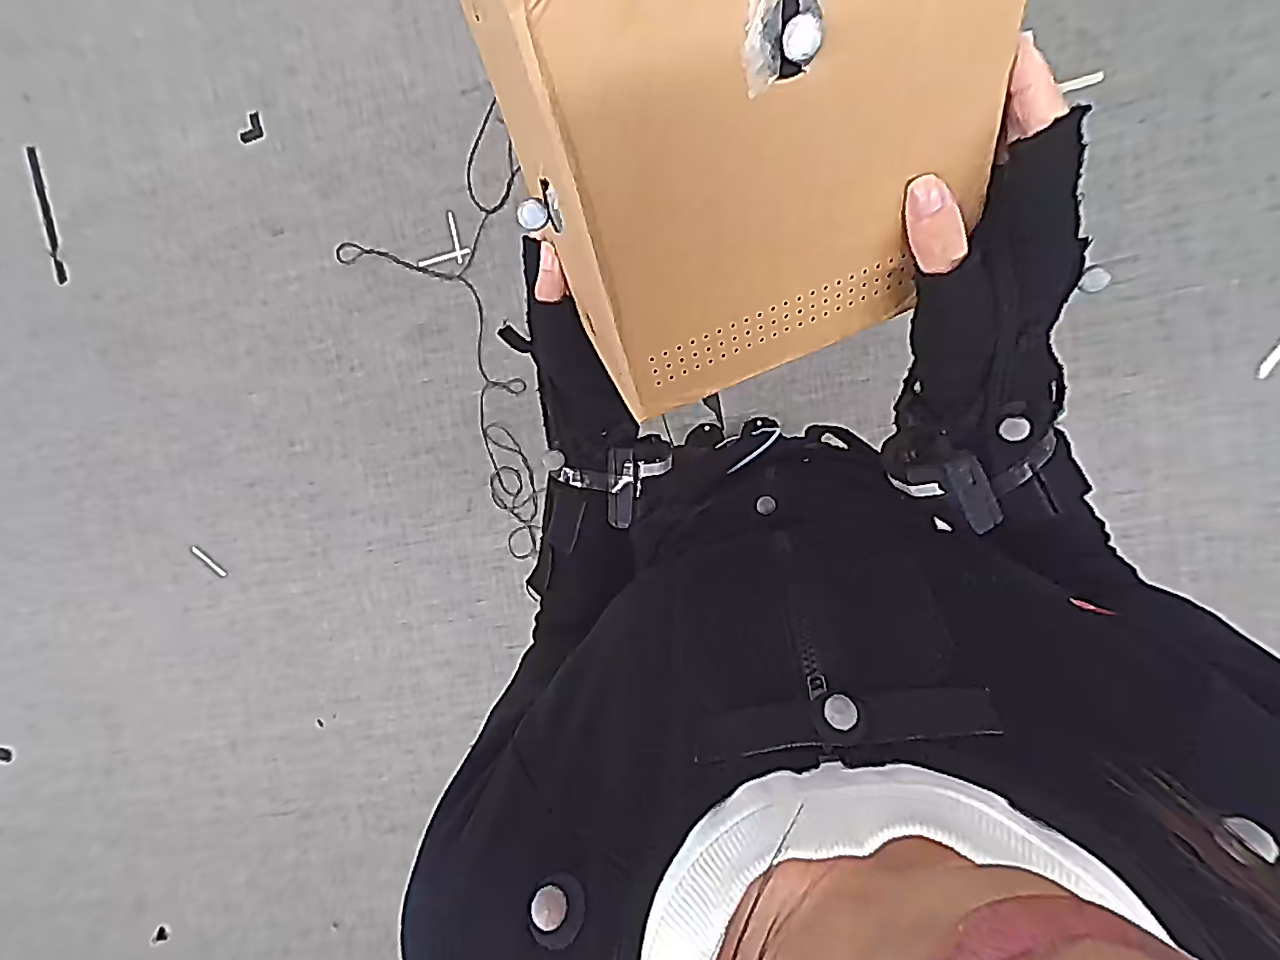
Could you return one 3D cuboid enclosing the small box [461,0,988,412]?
[{"bbox_3d":[0.037,-0.161,0.263,0.179,0.168,0.176,-23,135,-3],"label":"small box"}]
